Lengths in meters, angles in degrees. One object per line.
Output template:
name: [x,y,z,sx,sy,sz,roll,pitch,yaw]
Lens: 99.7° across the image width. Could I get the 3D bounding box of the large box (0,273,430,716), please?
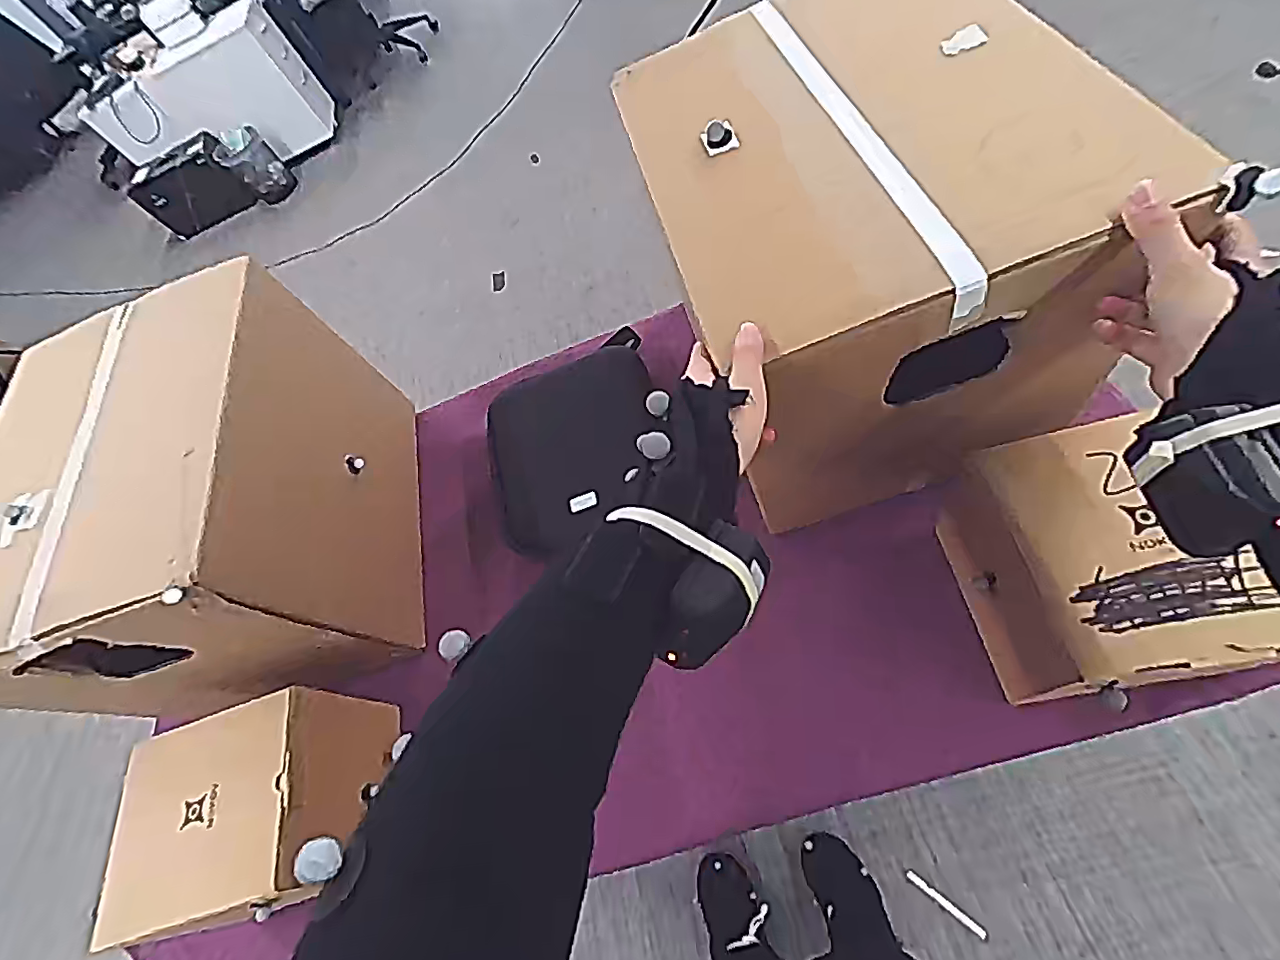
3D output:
large box: [-0.495,0.038,0.670,0.320,0.320,0.408,-20,62,6]
